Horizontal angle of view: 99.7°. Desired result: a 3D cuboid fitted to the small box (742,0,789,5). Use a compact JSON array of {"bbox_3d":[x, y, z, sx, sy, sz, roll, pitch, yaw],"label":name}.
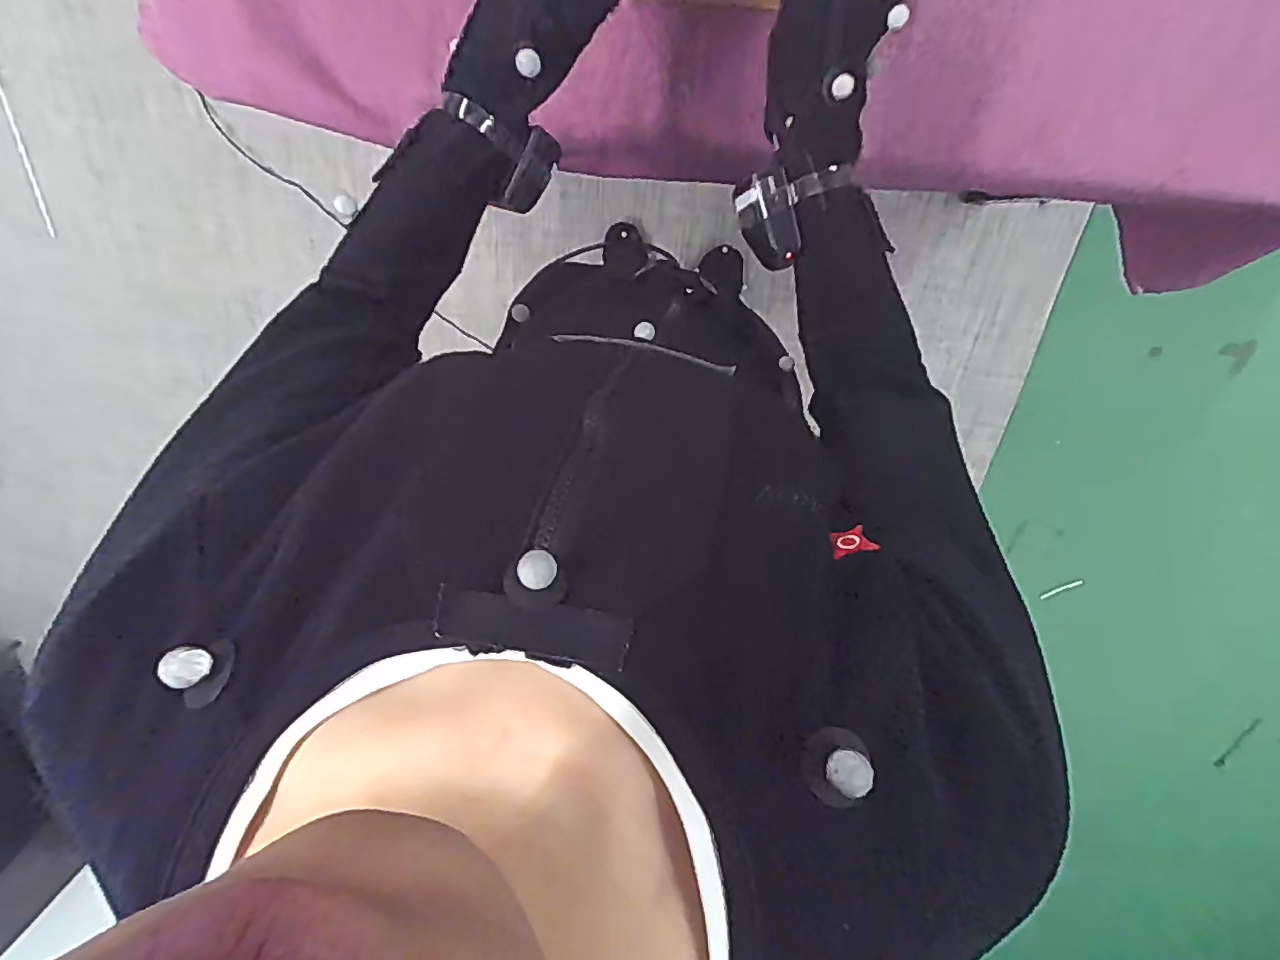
[{"bbox_3d":[0.068,-0.502,0.411,0.168,0.176,0.179,7,115,2],"label":"small box"}]
